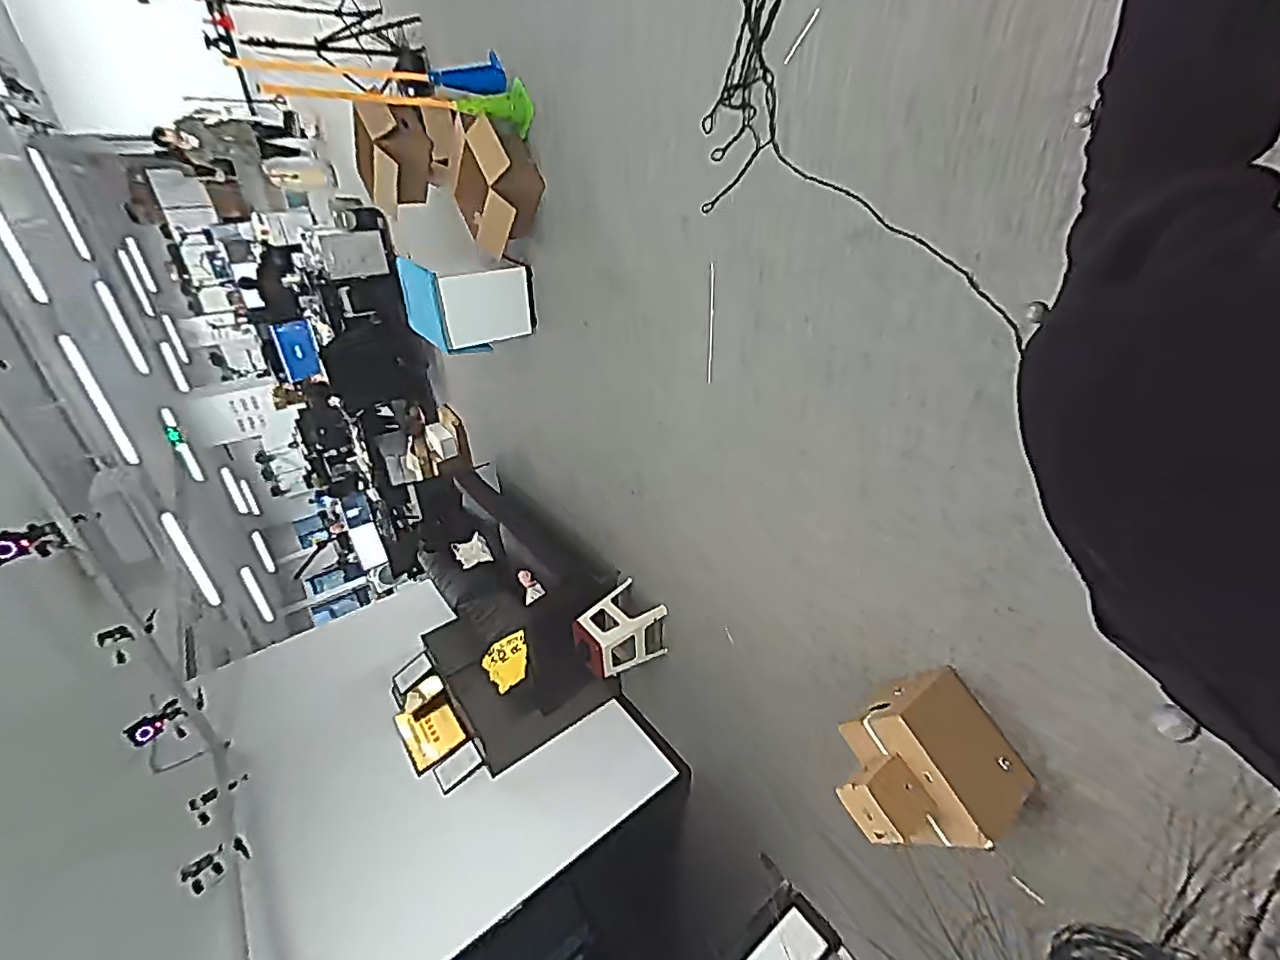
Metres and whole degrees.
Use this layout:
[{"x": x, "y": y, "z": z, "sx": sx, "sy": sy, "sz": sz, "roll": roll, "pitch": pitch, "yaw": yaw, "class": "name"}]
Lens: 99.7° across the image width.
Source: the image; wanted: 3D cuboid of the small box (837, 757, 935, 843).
[{"x": 0.756, "y": 0.979, "z": 1.666, "sx": 0.179, "sy": 0.176, "sz": 0.168, "roll": 56, "pitch": 149, "yaw": 20, "class": "small box"}]
